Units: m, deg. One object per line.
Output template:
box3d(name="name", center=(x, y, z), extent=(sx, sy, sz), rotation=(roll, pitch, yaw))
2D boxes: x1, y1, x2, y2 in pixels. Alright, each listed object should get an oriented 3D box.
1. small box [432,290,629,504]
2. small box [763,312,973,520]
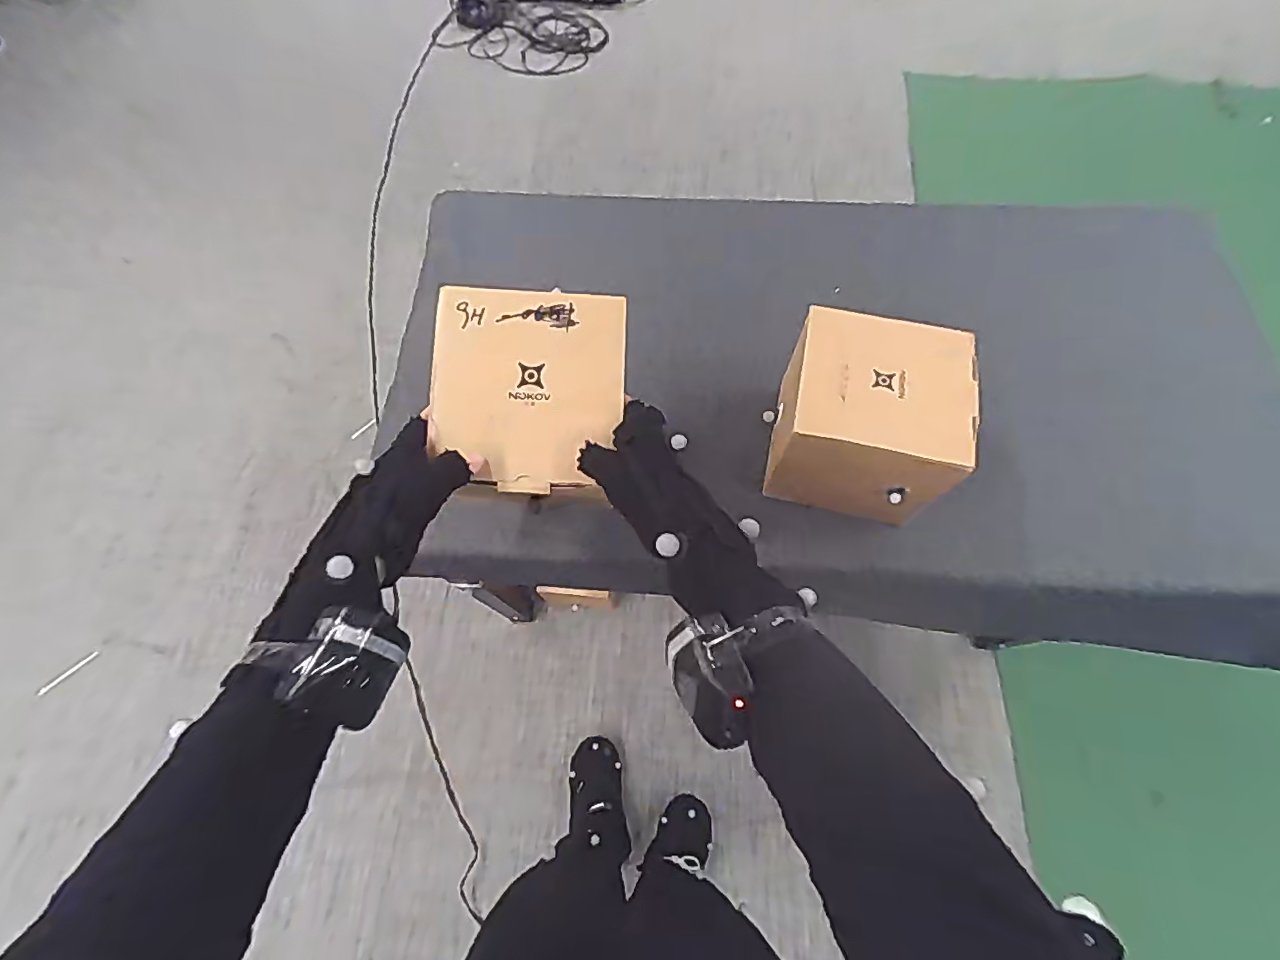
box3d(name="small box", center=(-0.100, -0.070, 0.553), extent=(0.168, 0.176, 0.179), rotation=(2, 81, -5))
box3d(name="small box", center=(0.255, -0.065, 0.632), extent=(0.179, 0.176, 0.168), rotation=(11, 66, 7))
